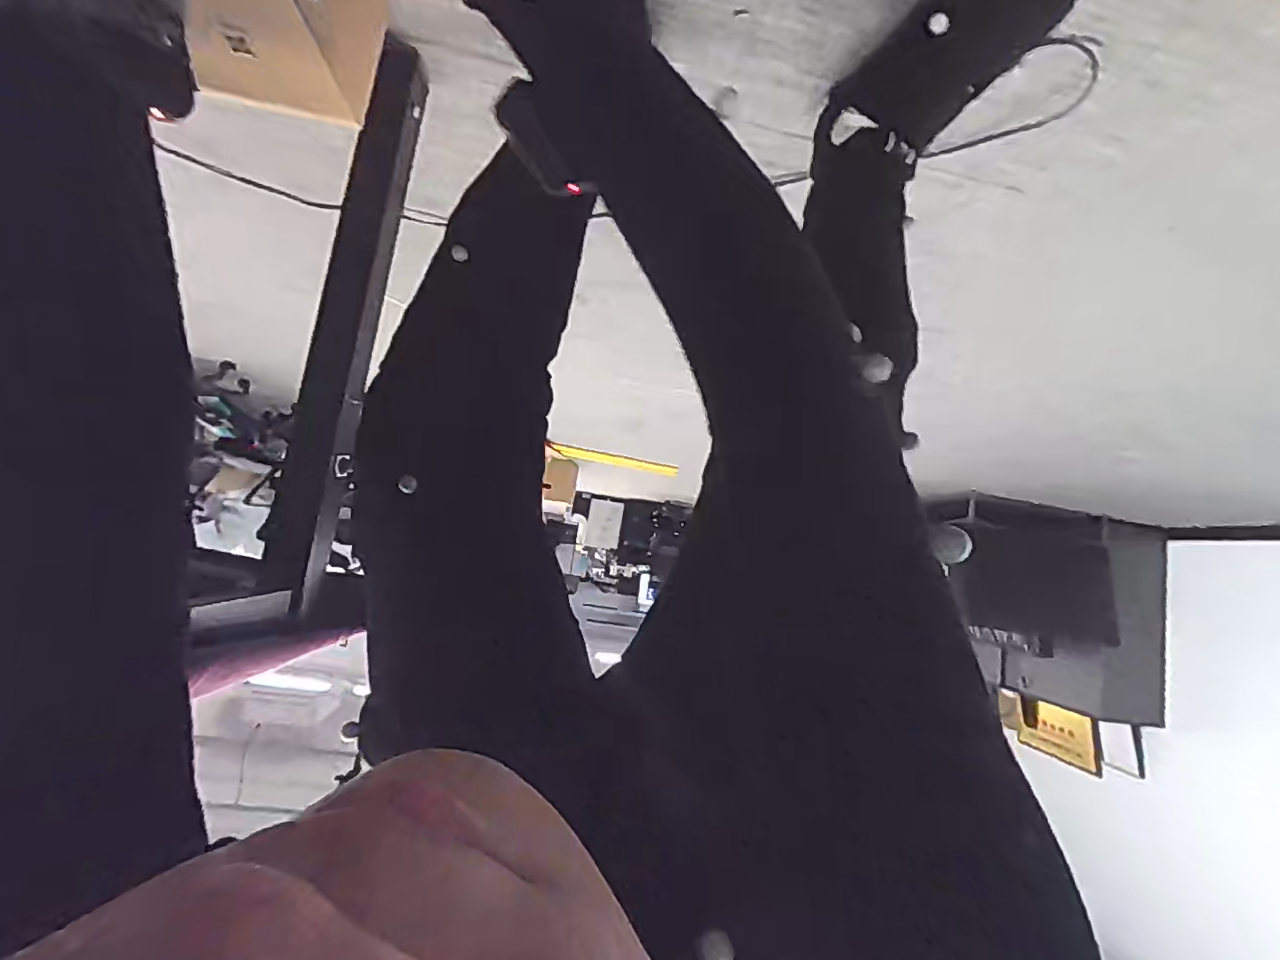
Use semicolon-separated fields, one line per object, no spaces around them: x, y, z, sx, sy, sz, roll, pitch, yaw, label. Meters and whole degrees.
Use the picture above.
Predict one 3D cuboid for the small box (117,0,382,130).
-0.364;-0.482;0.505;0.168;0.176;0.179;9;172;-5;small box
